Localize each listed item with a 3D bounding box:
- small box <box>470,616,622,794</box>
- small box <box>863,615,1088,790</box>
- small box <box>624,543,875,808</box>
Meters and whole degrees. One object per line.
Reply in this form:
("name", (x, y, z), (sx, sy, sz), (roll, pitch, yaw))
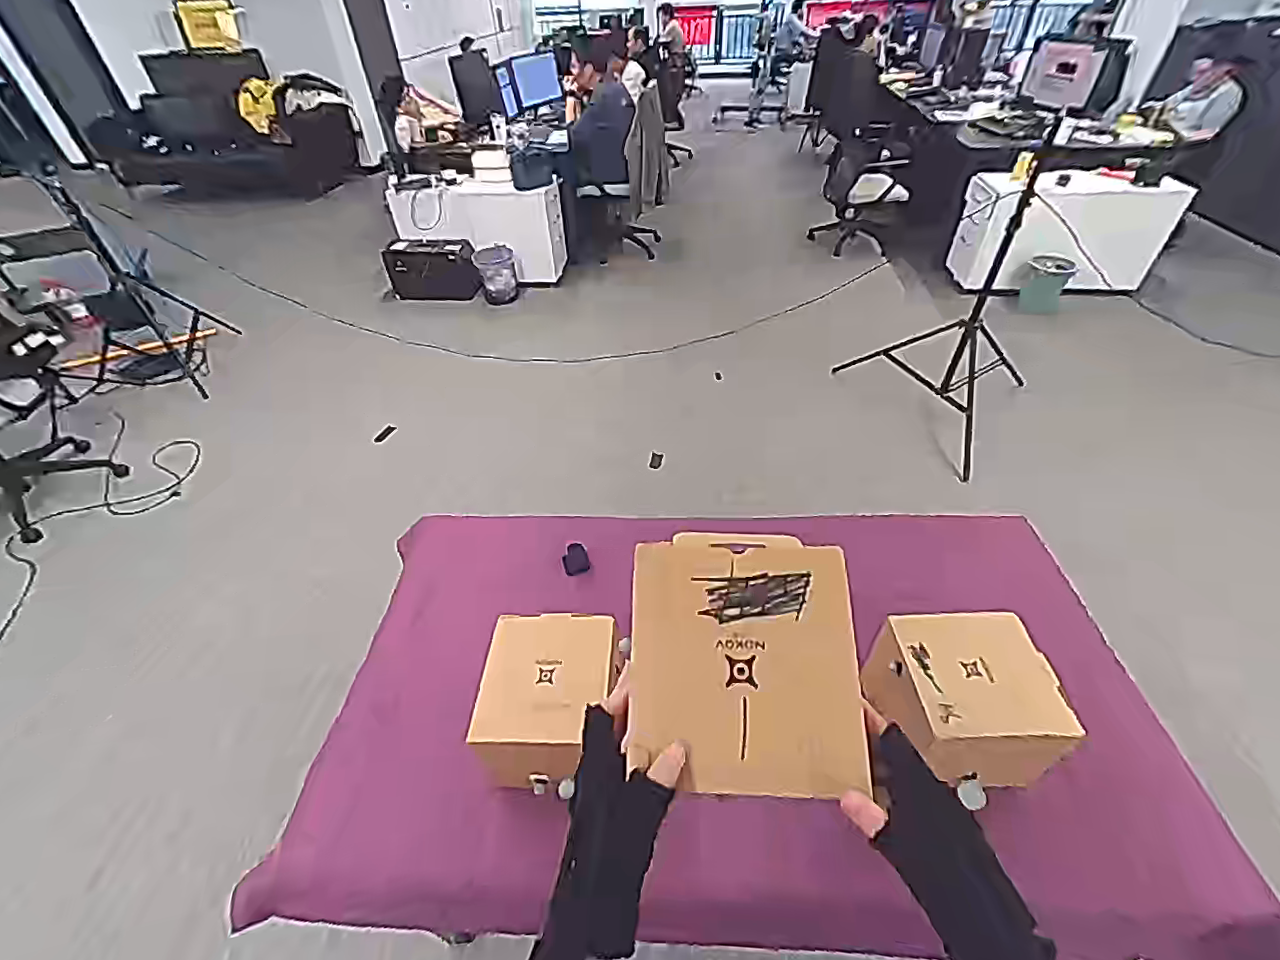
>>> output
("small box", (-0.114, 0.308, 0.746), (0.168, 0.176, 0.179), (-1, 43, 3))
("small box", (0.428, 0.300, 0.728), (0.179, 0.176, 0.168), (-1, 42, 1))
("small box", (0.079, 0.162, 0.459), (0.168, 0.176, 0.179), (0, 66, 5))
